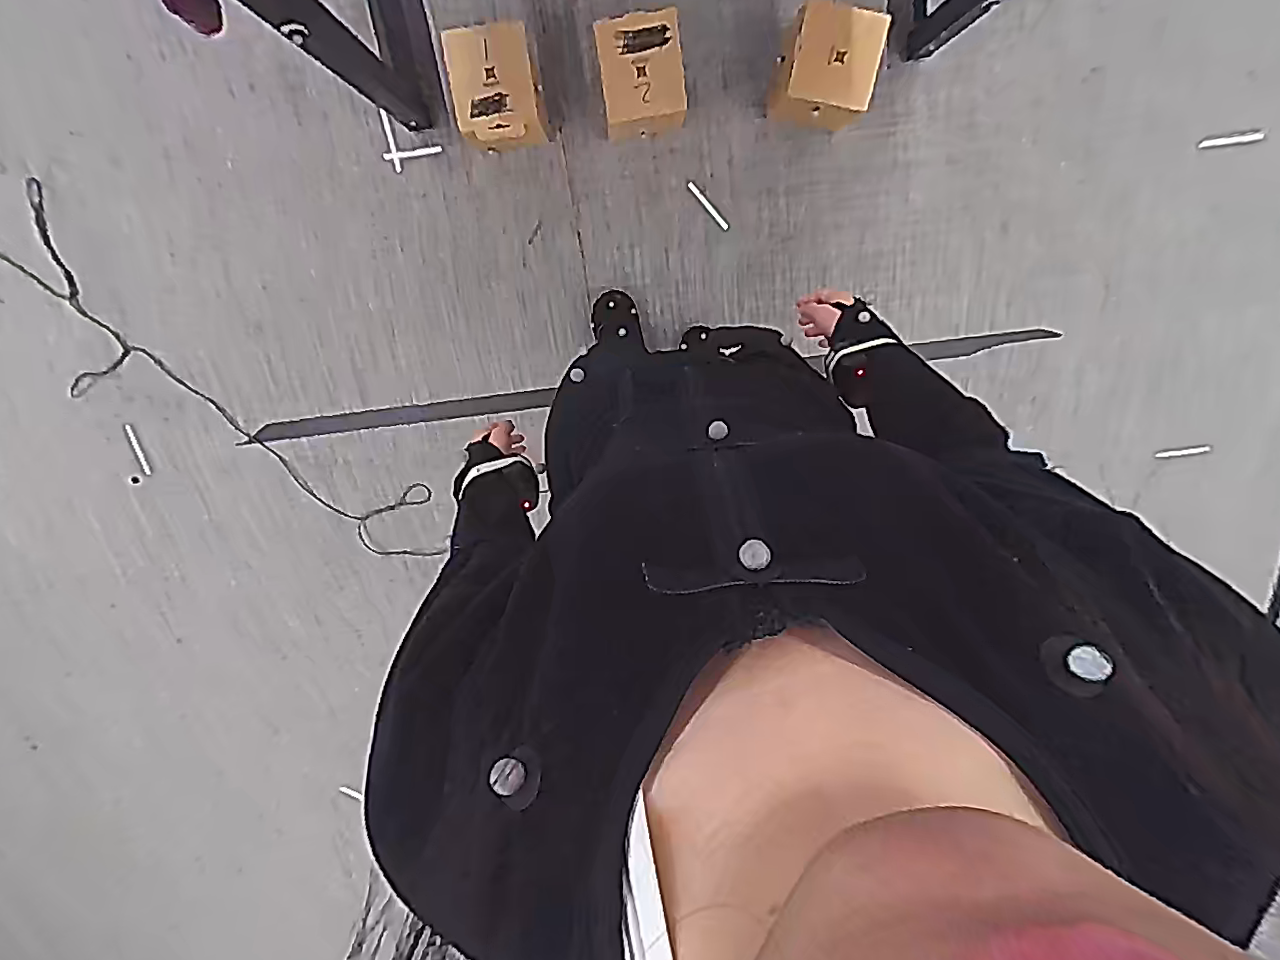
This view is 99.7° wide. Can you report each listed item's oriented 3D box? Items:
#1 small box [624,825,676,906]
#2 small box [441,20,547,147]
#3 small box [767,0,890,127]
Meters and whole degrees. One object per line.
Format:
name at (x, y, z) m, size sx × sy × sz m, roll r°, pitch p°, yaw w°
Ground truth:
small box at (0.034, 1.398, 1.965) m, size 0.168 × 0.176 × 0.179 m, roll -9°, pitch 111°, yaw 1°
small box at (-0.298, -0.824, 1.144) m, size 0.168 × 0.176 × 0.179 m, roll -7°, pitch 109°, yaw 0°
small box at (0.392, -0.878, 1.155) m, size 0.179 × 0.176 × 0.168 m, roll 8°, pitch 110°, yaw -4°
